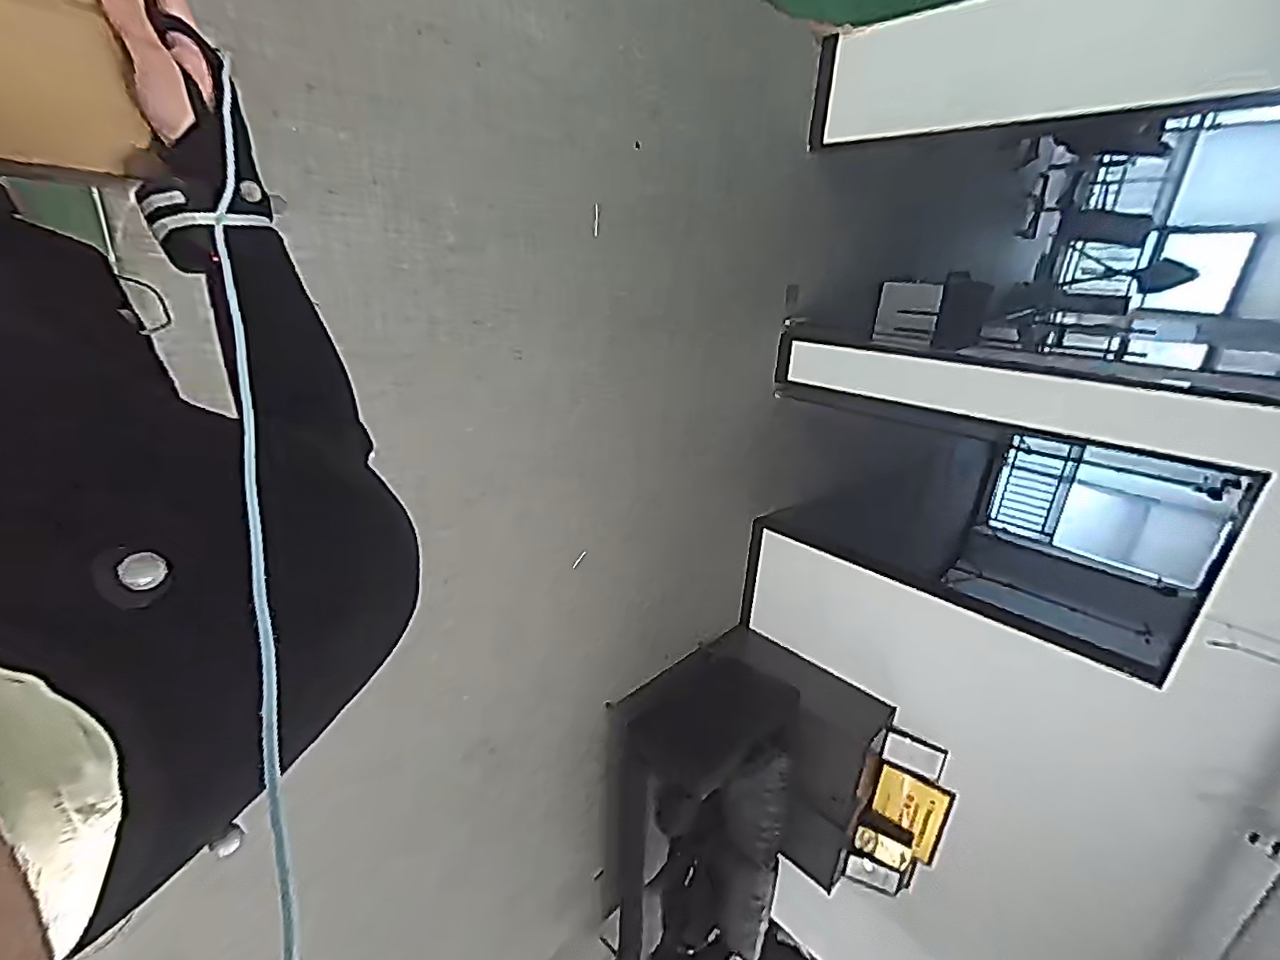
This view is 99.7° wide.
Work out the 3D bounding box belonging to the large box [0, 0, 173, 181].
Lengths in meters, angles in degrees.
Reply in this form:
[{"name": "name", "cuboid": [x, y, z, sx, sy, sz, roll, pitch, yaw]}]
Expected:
[{"name": "large box", "cuboid": [-0.618, -0.399, 0.345, 0.408, 0.320, 0.320, -18, 121, -44]}]
